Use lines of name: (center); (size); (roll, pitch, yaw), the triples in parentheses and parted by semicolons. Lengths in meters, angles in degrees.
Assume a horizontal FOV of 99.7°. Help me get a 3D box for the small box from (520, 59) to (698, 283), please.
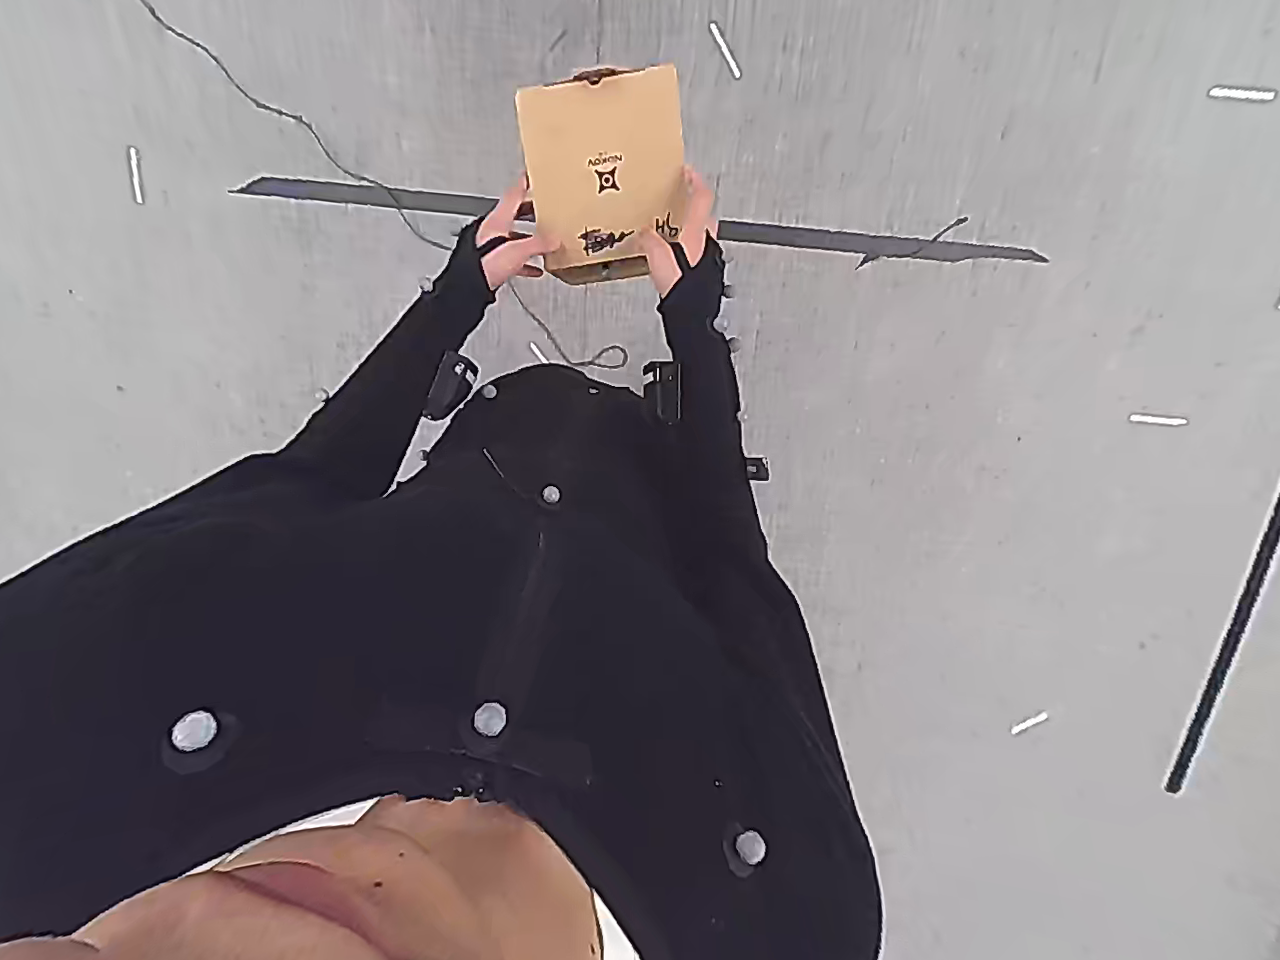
small box: (-0.027, -0.337, 0.626); (0.168, 0.176, 0.179); (-6, 105, 4)
